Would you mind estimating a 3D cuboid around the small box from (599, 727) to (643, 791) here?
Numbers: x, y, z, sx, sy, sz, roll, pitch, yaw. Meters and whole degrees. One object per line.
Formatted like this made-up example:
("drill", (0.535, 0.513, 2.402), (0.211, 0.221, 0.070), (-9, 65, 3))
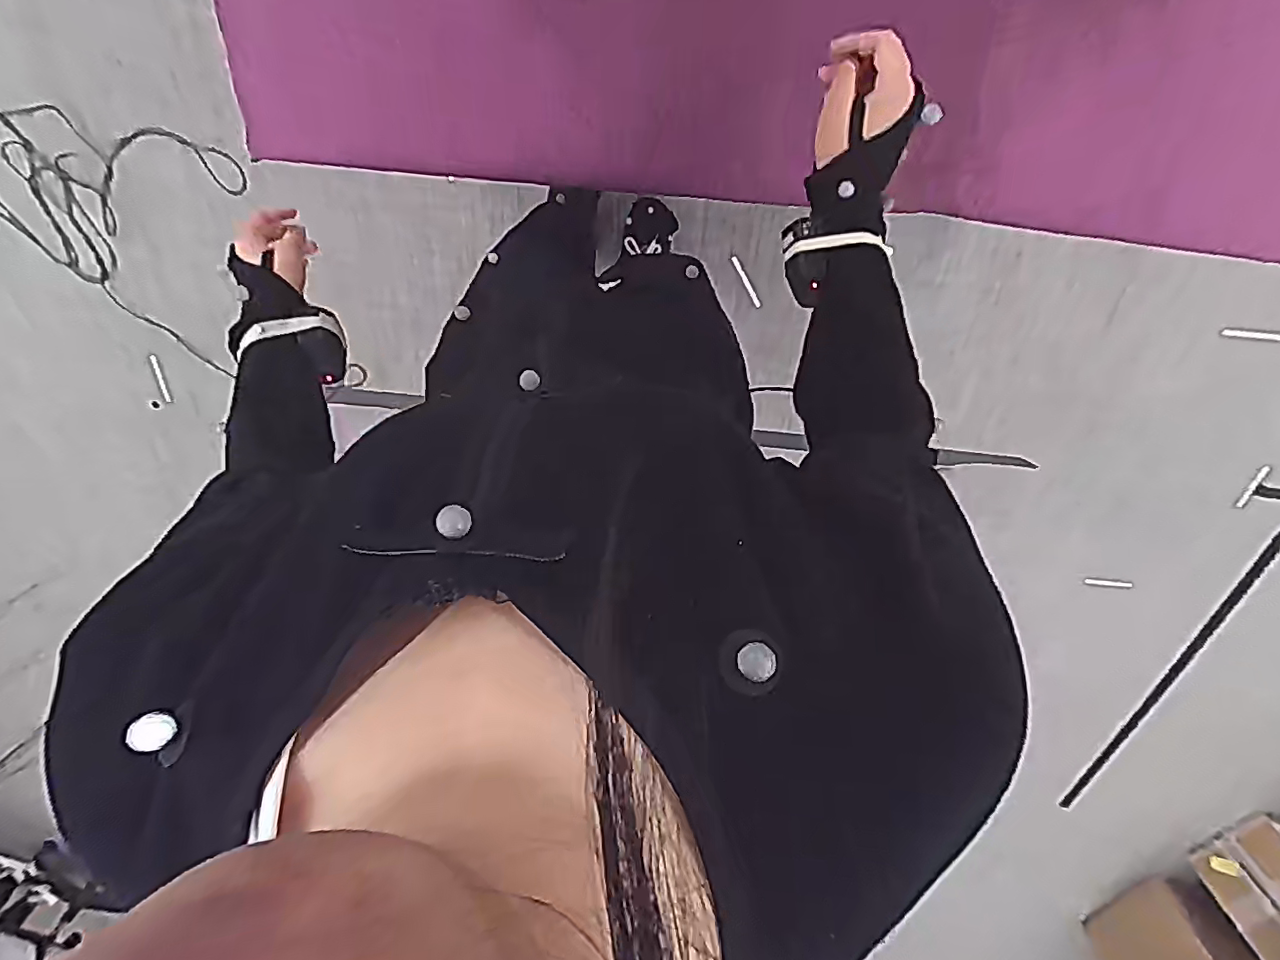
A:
("small box", (-0.074, 1.112, 2.161), (0.168, 0.176, 0.179), (2, 120, 2))
